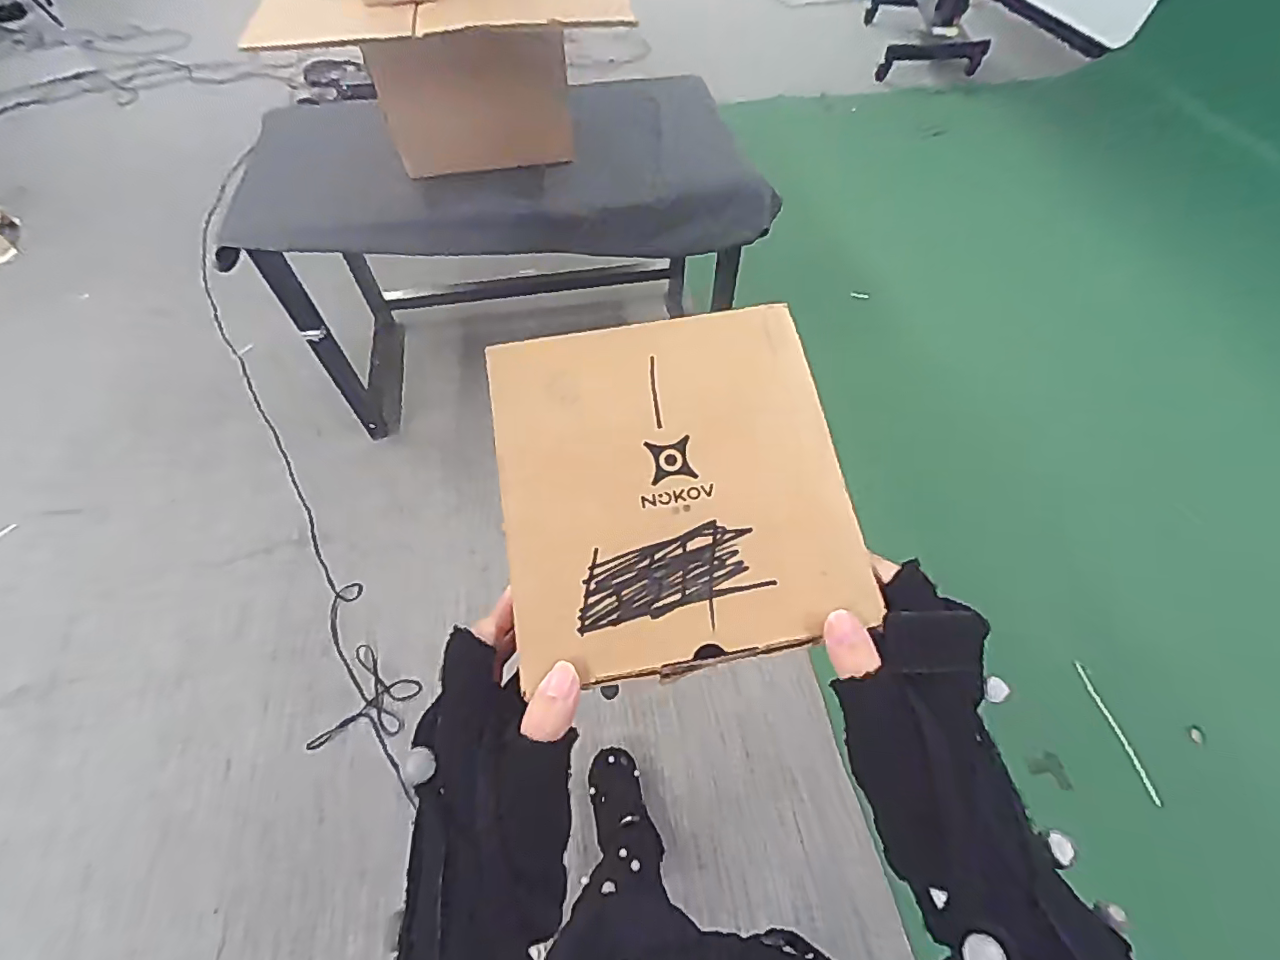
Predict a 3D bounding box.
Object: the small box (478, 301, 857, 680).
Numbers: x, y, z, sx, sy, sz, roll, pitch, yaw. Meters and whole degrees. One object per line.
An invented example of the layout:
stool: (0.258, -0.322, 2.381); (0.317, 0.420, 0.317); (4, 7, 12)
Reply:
small box: (0.007, 0.019, 0.345); (0.168, 0.176, 0.179); (-10, 72, -4)

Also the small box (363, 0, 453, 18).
small box: (-0.453, -0.995, 1.006); (0.168, 0.176, 0.179); (-10, 57, -4)
